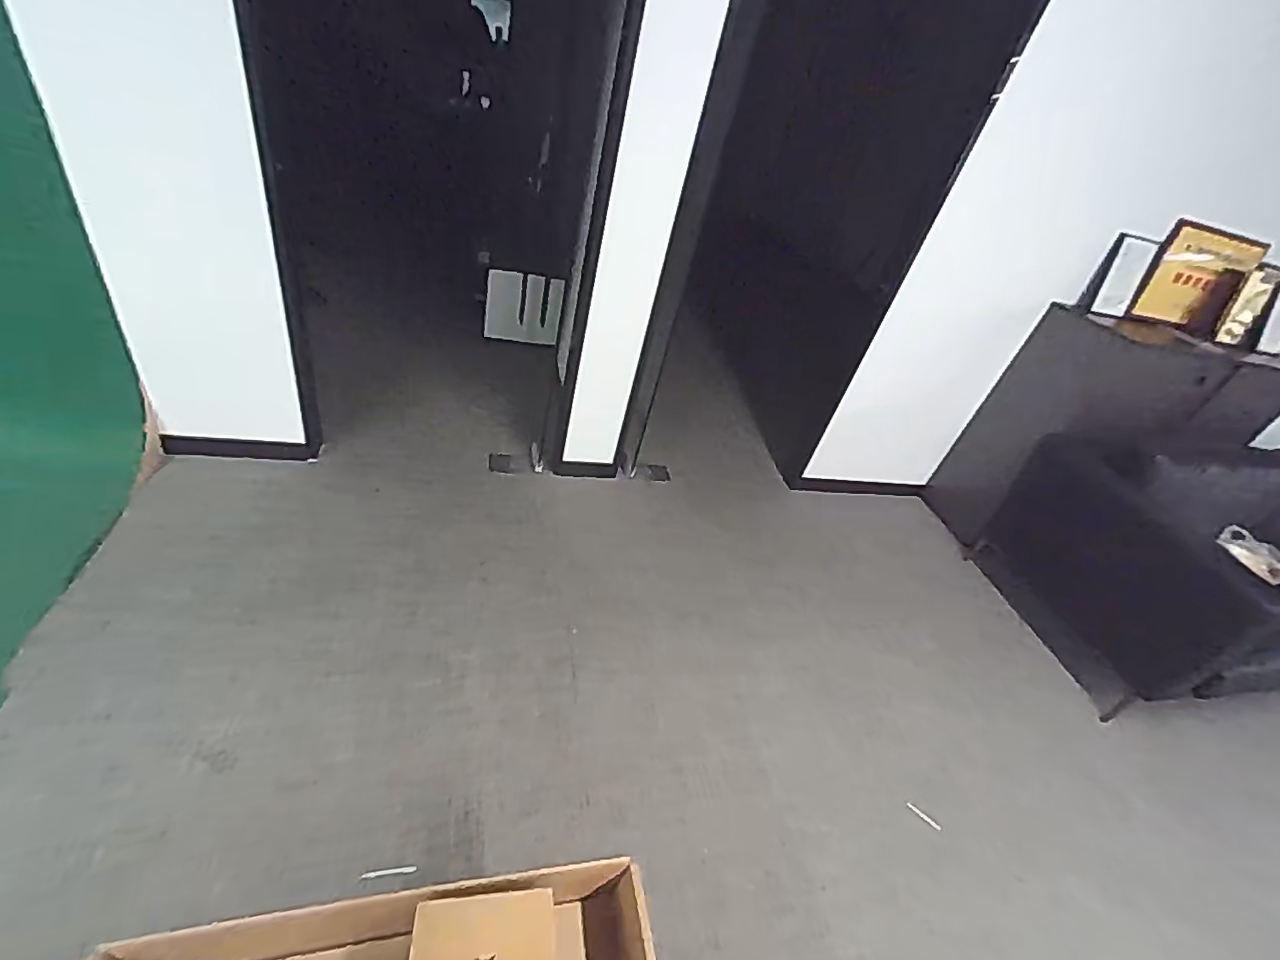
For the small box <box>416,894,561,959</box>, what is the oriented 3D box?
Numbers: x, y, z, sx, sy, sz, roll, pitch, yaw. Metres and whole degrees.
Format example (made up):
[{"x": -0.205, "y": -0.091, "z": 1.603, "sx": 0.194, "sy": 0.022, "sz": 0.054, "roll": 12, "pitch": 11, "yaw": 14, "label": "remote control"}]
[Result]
[{"x": -0.180, "y": 0.626, "z": 0.615, "sx": 0.168, "sy": 0.176, "sz": 0.179, "roll": 5, "pitch": 14, "yaw": -15, "label": "small box"}]
